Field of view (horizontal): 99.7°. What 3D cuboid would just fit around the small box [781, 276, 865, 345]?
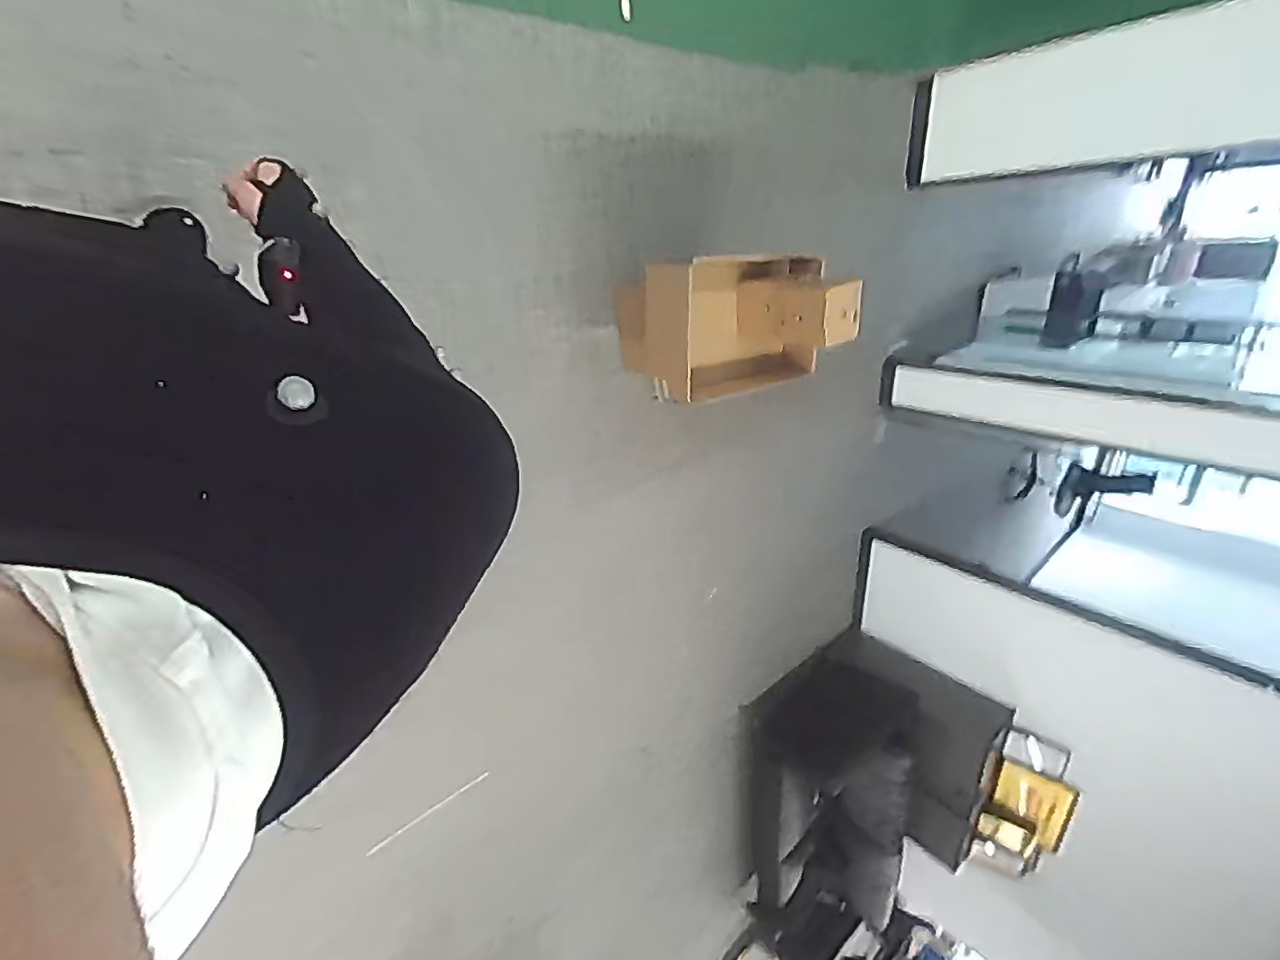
[{"bbox_3d":[0.535,-0.506,1.599,0.179,0.176,0.168,-23,122,-31],"label":"small box"}]
